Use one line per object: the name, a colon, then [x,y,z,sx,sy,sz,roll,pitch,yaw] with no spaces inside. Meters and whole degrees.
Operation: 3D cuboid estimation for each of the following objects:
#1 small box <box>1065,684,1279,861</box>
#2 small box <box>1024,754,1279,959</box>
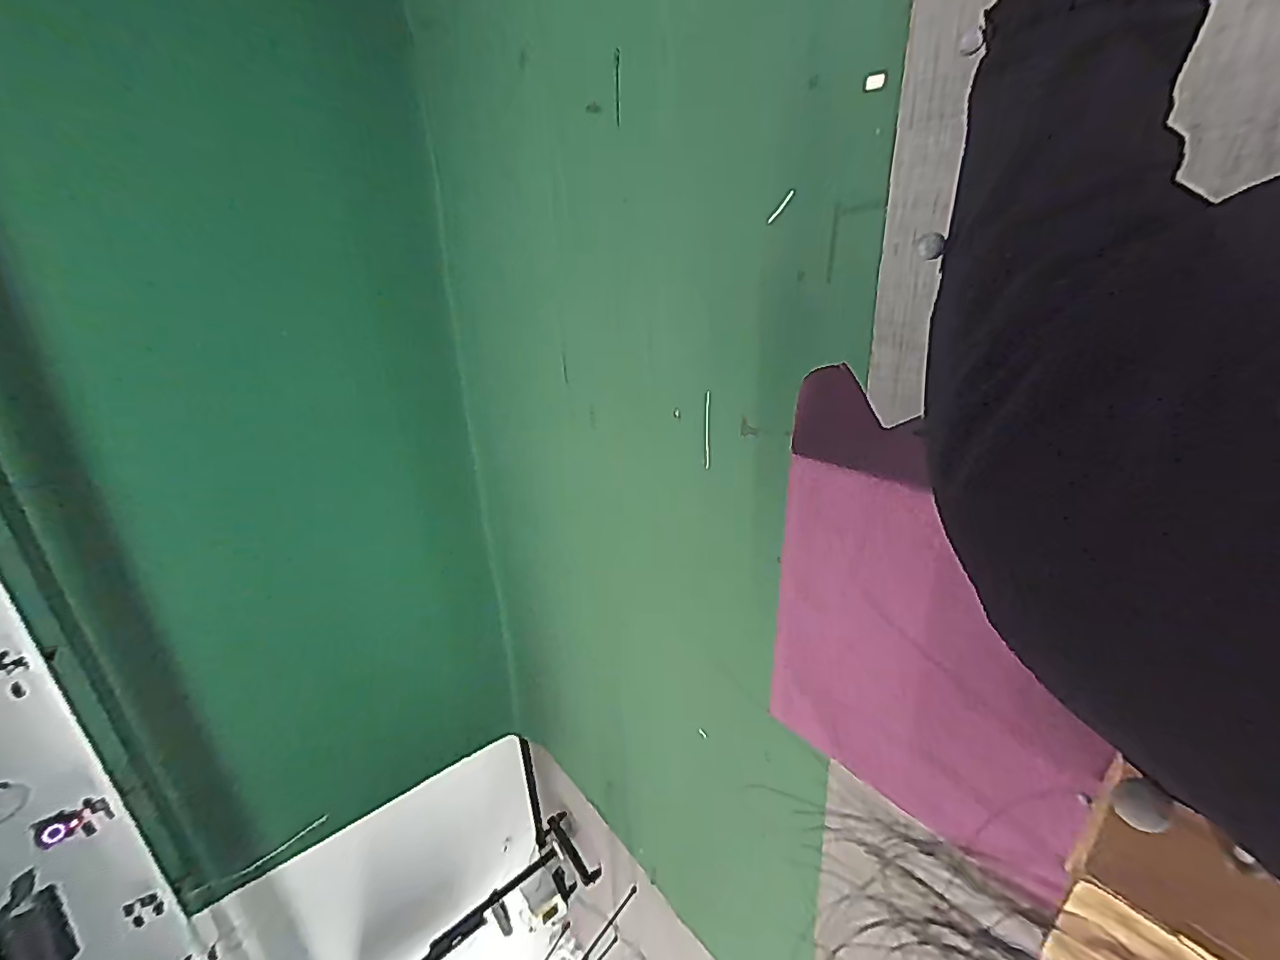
small box: [0.598,0.358,0.570,0.168,0.176,0.179,28,125,44]
small box: [0.474,0.388,0.465,0.168,0.176,0.179,25,124,44]
